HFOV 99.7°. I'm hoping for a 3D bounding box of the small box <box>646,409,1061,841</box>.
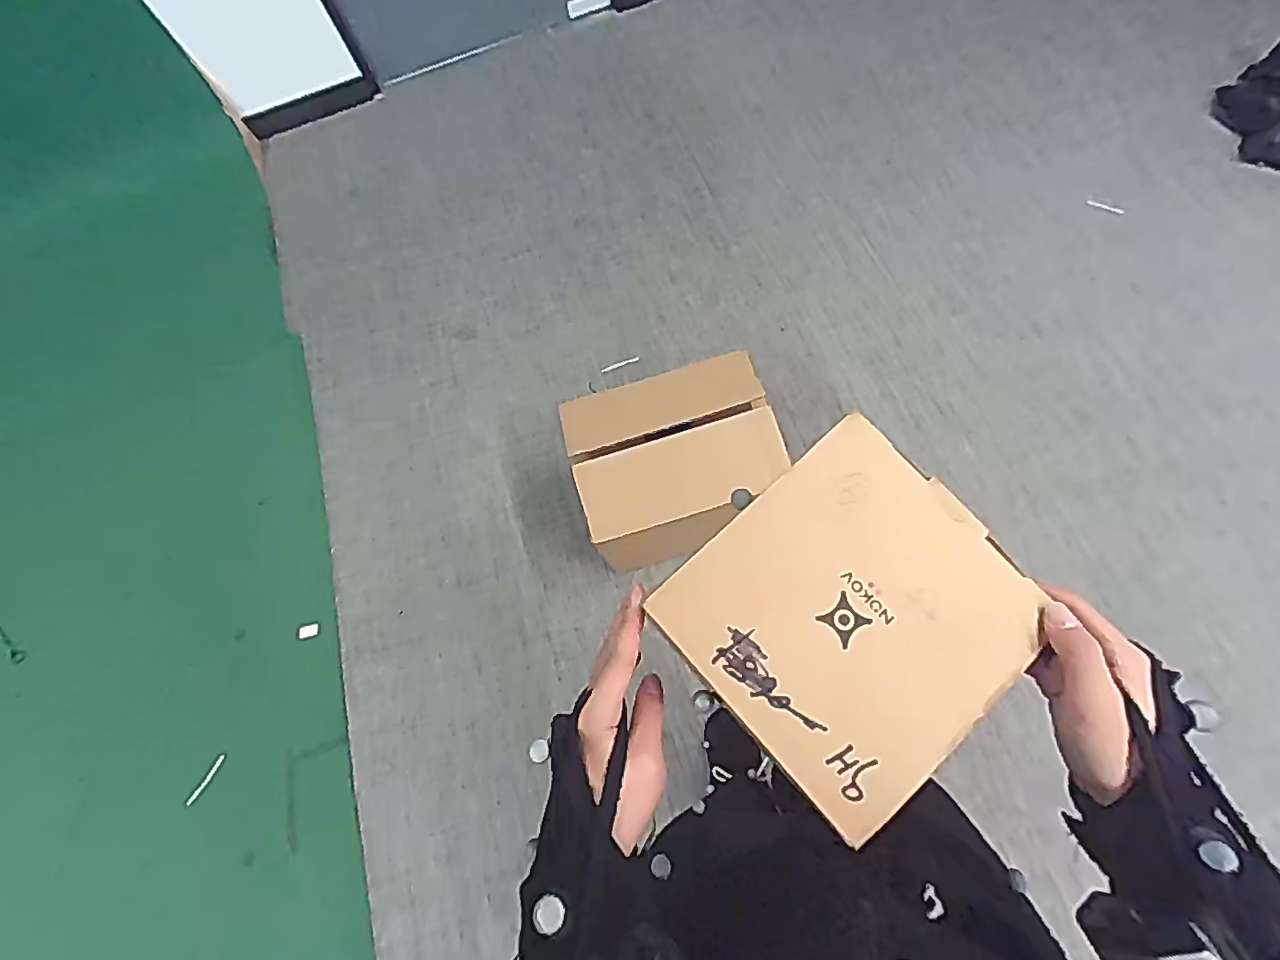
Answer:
[{"bbox_3d":[0.116,0.087,0.374,0.179,0.176,0.168,-41,80,-10],"label":"small box"}]
